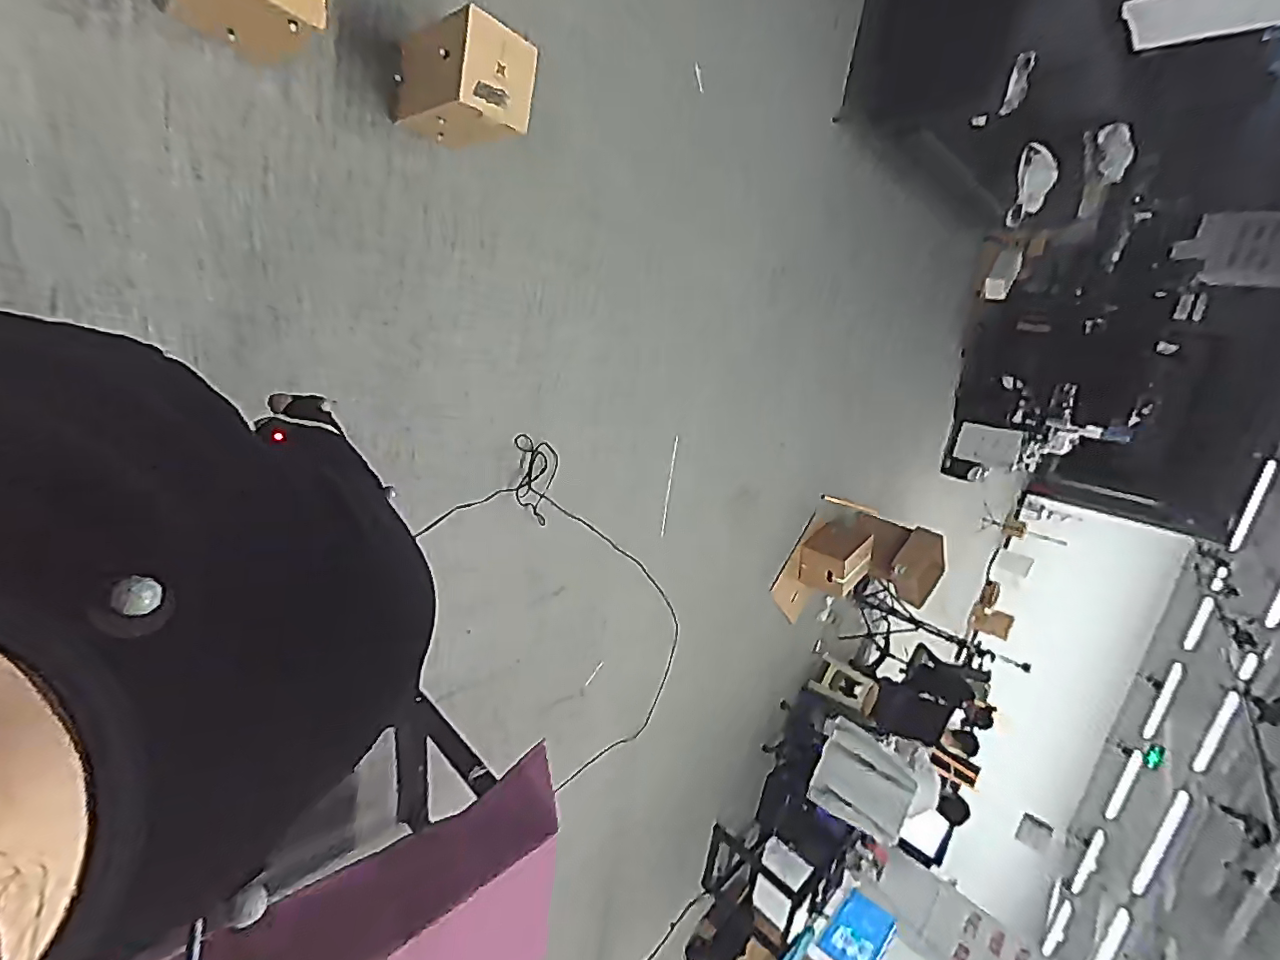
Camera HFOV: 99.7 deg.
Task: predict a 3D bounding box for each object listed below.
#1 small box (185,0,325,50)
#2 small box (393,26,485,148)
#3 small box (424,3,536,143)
[{"bbox_3d":[-0.631,-0.846,0.879,0.179,0.176,0.168,-2,107,-47],"label":"small box"},{"bbox_3d":[-0.467,-0.914,1.280,0.168,0.176,0.179,-4,110,-47],"label":"small box"},{"bbox_3d":[-0.352,-0.863,1.172,0.168,0.176,0.179,-2,107,-47],"label":"small box"}]
